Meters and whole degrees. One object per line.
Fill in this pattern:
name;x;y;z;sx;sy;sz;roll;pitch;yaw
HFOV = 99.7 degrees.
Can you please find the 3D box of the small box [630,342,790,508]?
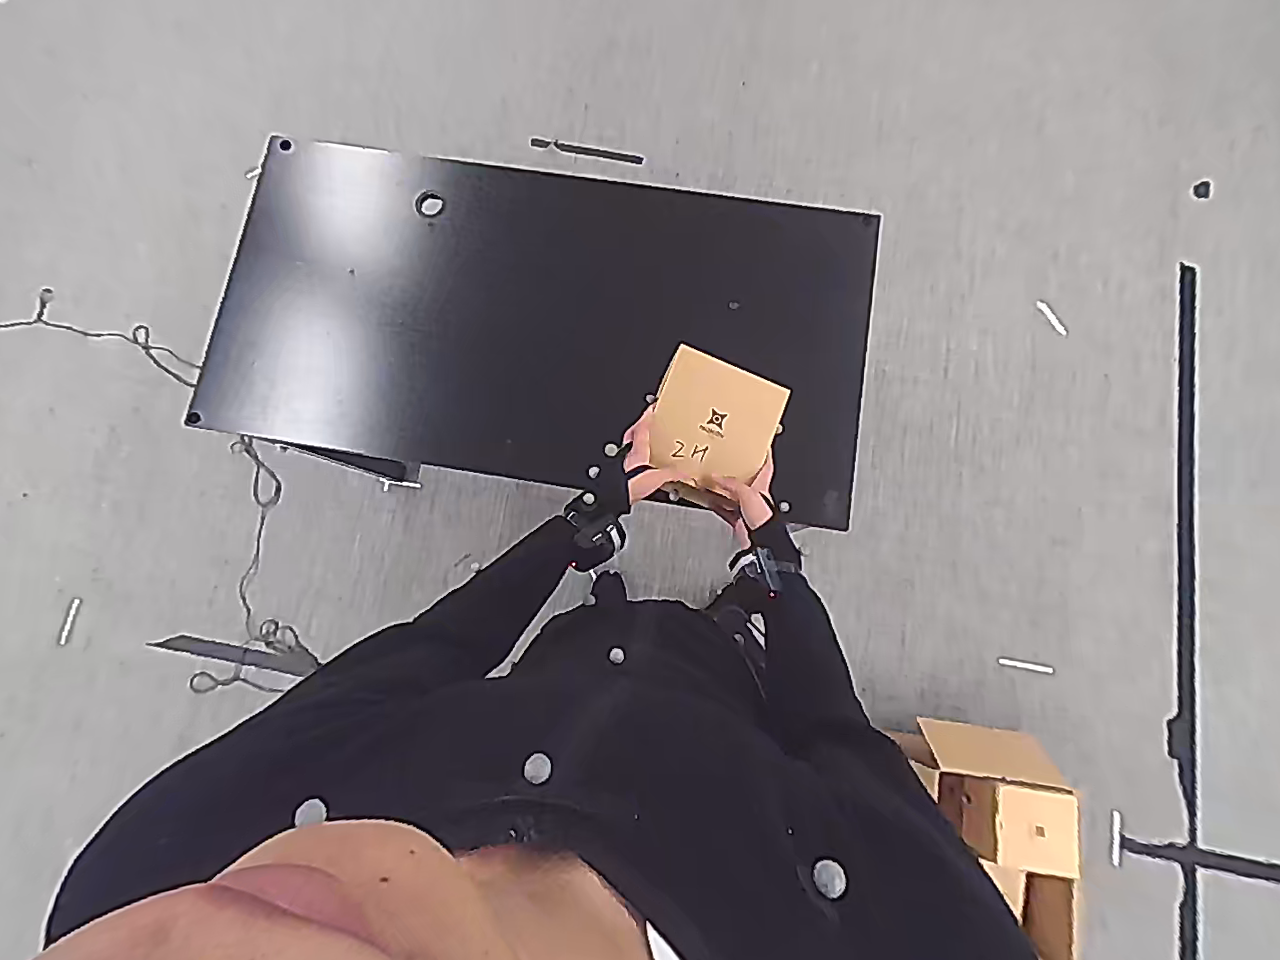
small box;0.090;-0.069;0.796;0.168;0.176;0.179;22;84;-3
